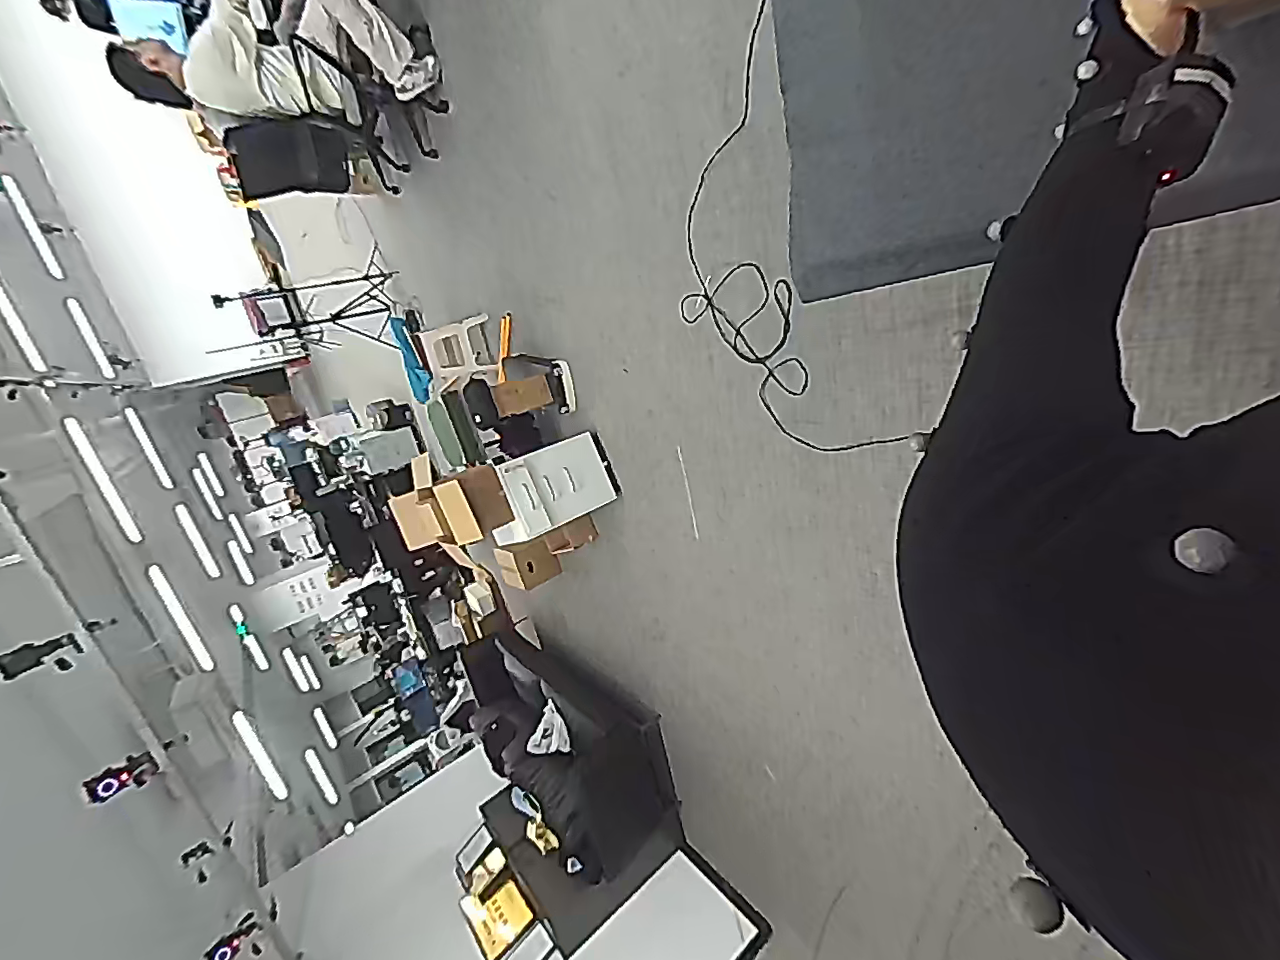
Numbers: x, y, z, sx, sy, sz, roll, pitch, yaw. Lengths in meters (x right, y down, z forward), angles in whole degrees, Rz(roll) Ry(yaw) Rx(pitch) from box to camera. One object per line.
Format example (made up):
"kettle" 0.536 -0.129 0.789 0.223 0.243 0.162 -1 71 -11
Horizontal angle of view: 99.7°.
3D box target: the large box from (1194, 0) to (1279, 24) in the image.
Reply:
"large box" 0.461 -0.445 0.172 0.408 0.320 0.320 11 120 52
